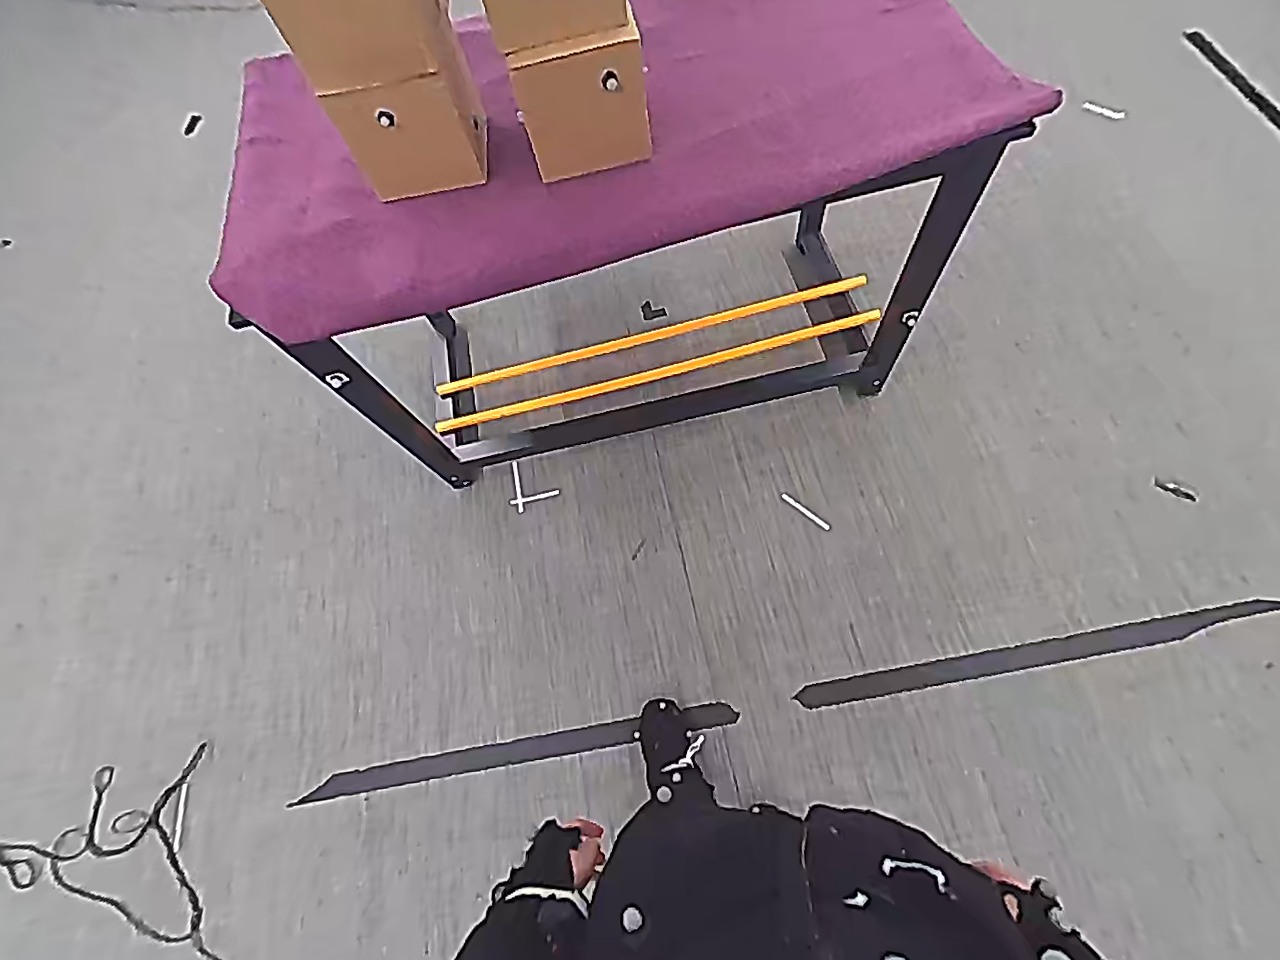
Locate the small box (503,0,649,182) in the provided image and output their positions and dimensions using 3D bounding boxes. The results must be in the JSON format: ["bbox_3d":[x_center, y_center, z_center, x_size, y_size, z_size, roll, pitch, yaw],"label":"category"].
[{"bbox_3d":[-0.086,-0.581,0.799,0.179,0.176,0.168,-12,66,2],"label":"small box"}]

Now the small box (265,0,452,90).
[{"bbox_3d":[-0.353,-0.632,0.675,0.179,0.176,0.168,-5,67,5],"label":"small box"}]
